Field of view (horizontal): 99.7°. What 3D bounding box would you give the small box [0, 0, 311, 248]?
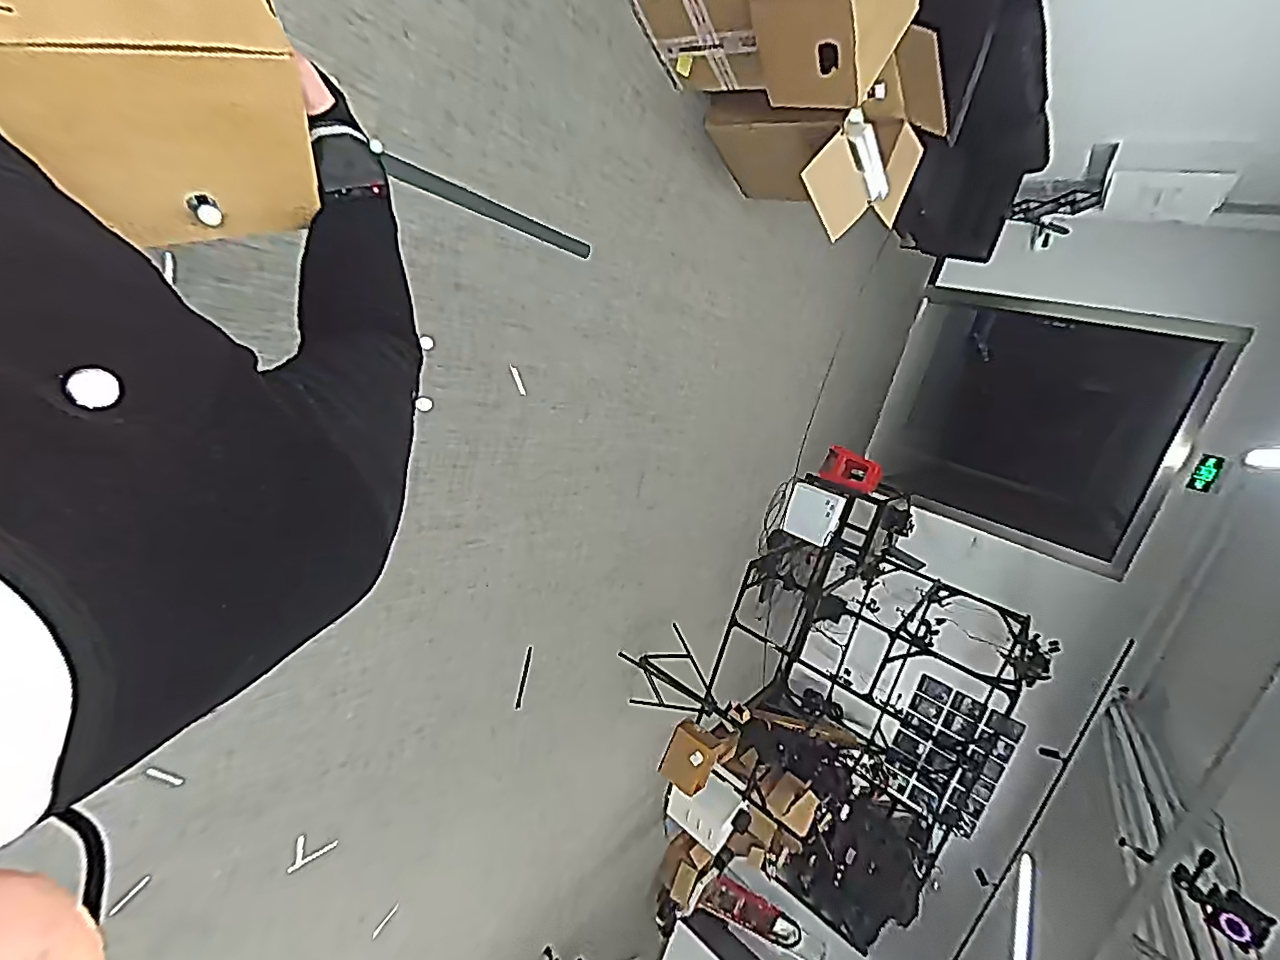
[{"bbox_3d":[-0.381,-0.311,0.424,0.179,0.168,0.176,-24,173,-30],"label":"small box"}]
